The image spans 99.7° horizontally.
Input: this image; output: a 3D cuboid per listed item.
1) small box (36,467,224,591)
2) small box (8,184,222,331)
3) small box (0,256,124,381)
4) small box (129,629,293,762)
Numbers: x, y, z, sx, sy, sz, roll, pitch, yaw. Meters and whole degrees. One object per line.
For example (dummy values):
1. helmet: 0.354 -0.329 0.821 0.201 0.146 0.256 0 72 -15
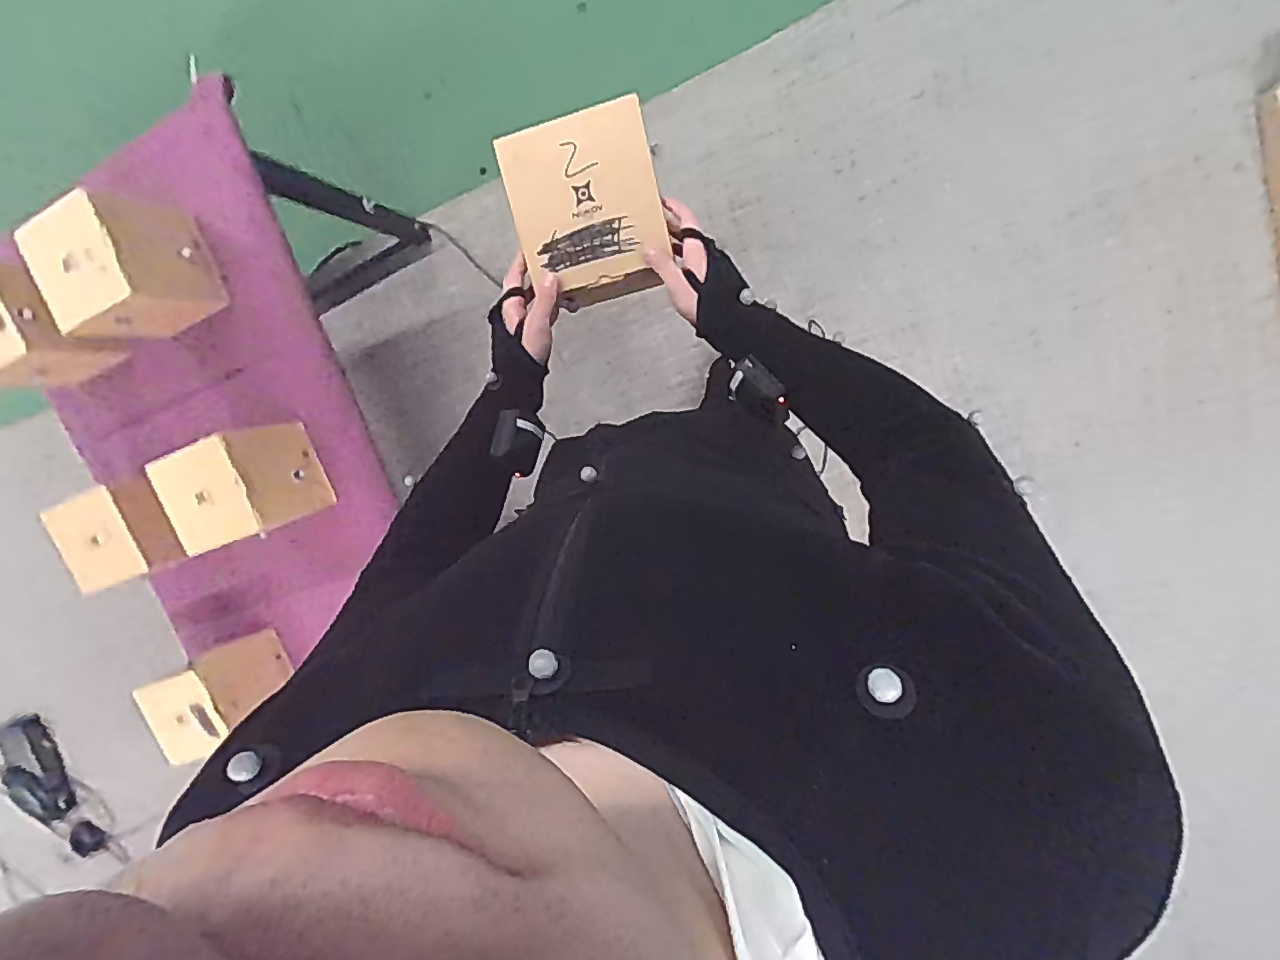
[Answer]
1. small box: -0.957 0.087 1.031 0.179 0.176 0.168 -18 99 14
2. small box: -0.868 -0.358 0.910 0.179 0.176 0.168 -17 100 15
3. small box: -1.110 -0.282 0.977 0.179 0.176 0.168 -19 99 14
4. small box: -0.835 0.420 1.077 0.179 0.176 0.168 -19 97 15
